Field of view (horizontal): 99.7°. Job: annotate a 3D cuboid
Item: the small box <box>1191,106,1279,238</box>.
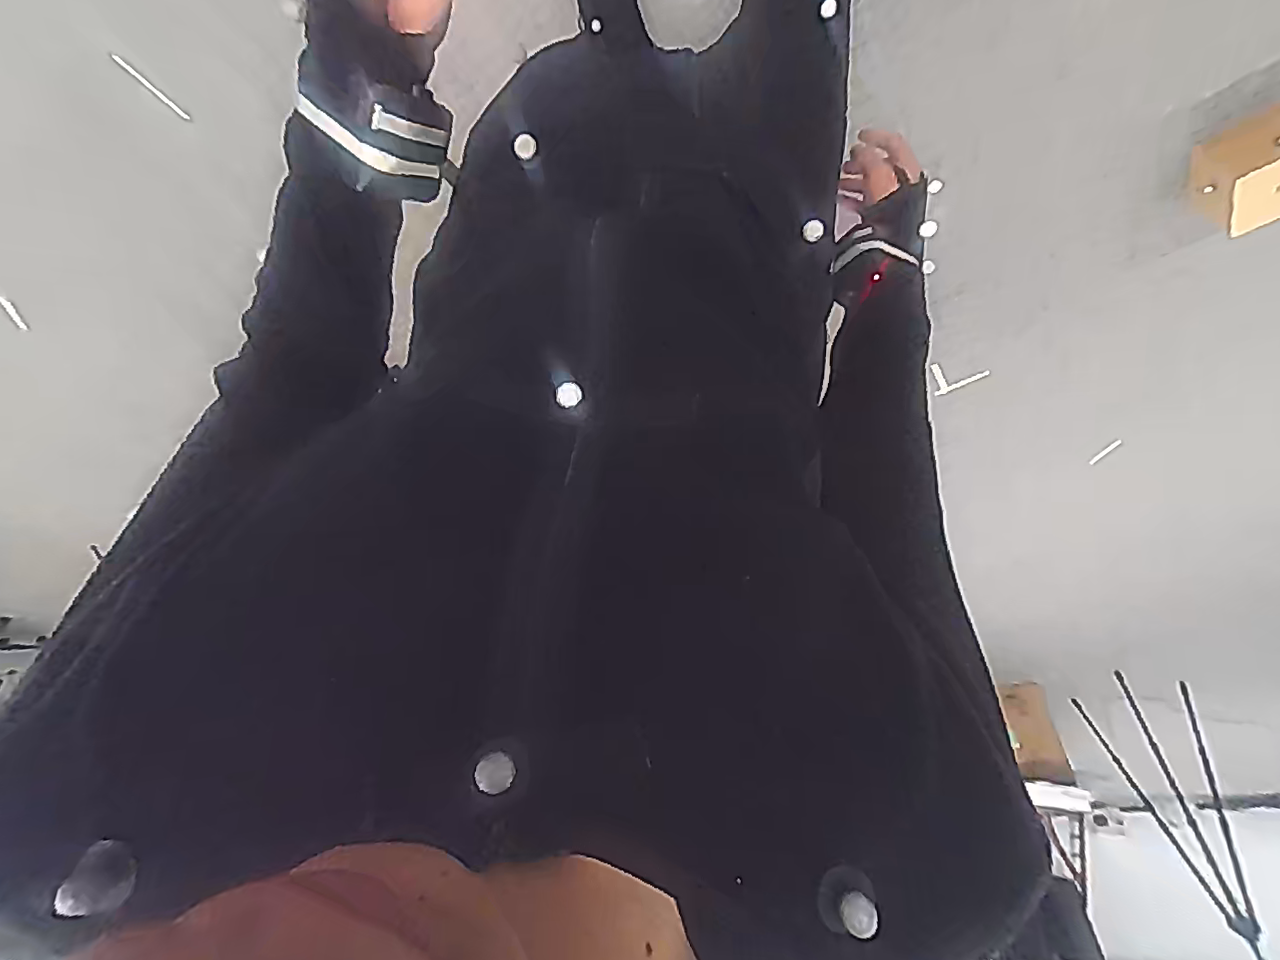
[{"bbox_3d":[1.401,-0.697,1.221,0.179,0.176,0.168,-25,134,29],"label":"small box"}]
